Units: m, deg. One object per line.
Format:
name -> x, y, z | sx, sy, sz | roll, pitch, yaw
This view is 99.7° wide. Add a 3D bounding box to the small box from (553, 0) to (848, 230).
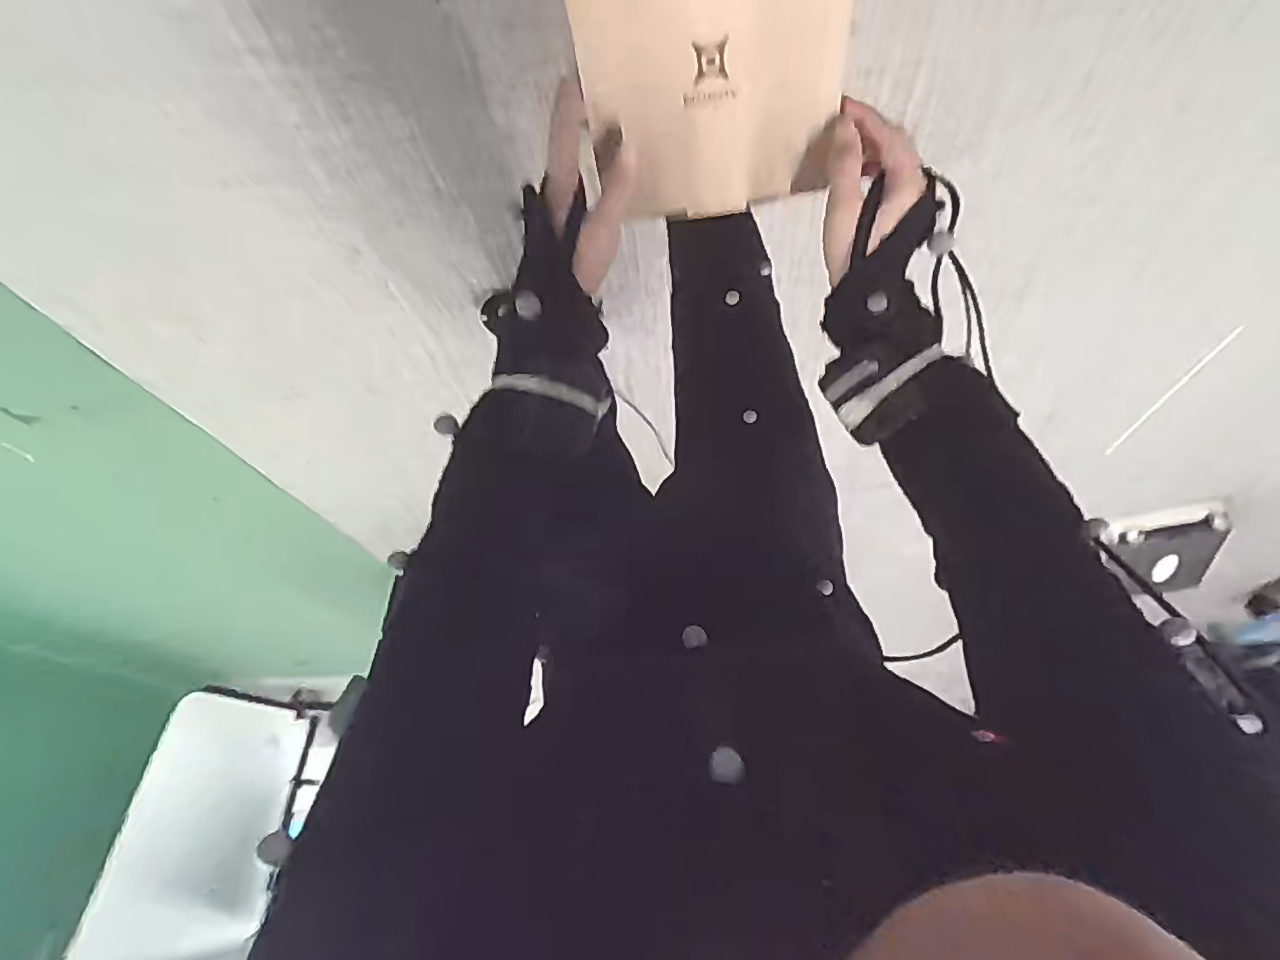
small box -> 0.037, -0.309, 0.377 | 0.168, 0.176, 0.179 | -7, 140, 6
